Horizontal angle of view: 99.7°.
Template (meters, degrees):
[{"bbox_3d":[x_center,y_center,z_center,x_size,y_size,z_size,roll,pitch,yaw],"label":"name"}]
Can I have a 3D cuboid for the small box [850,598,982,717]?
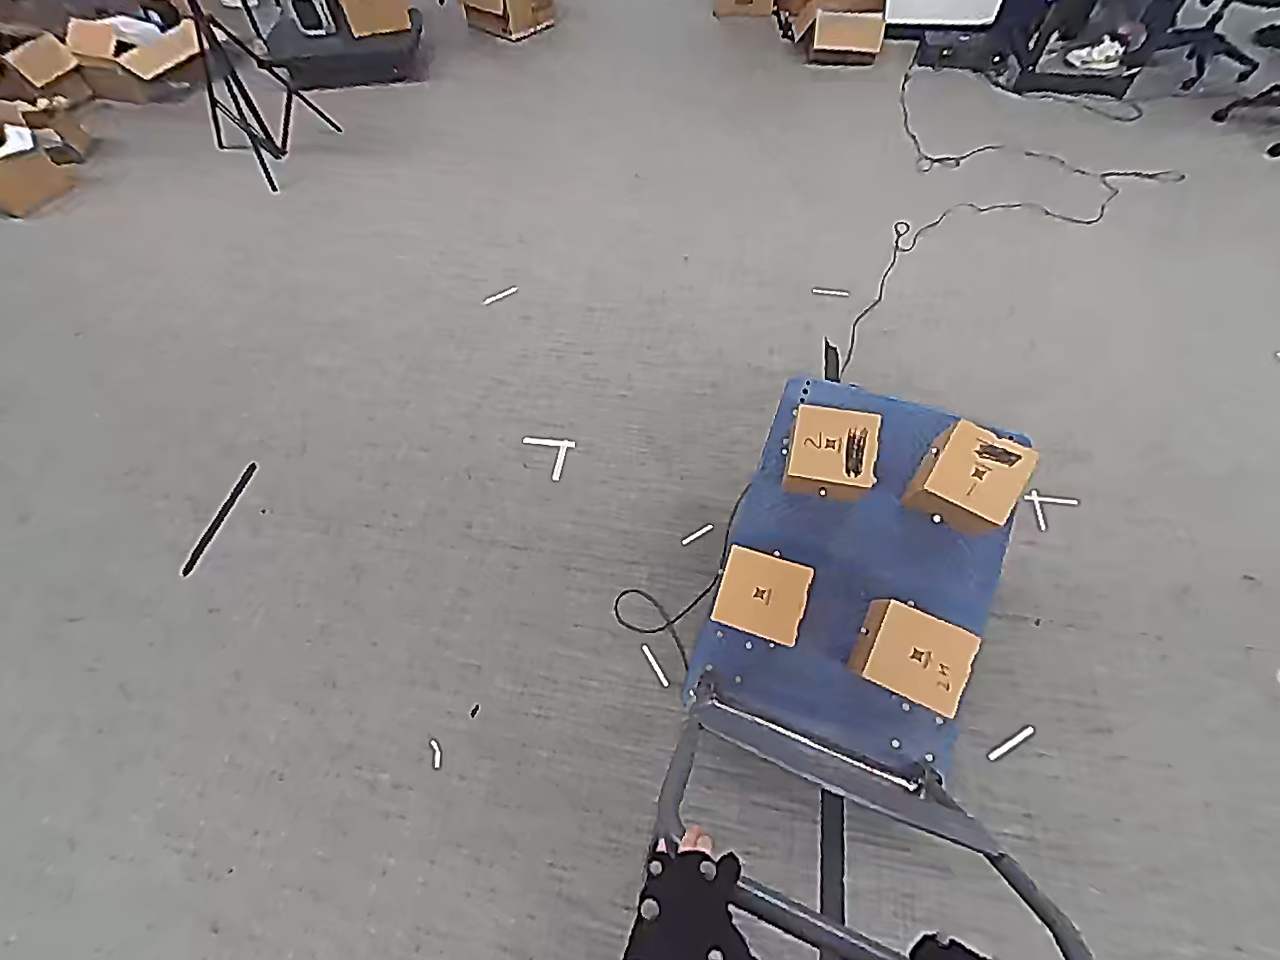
[{"bbox_3d":[0.555,0.358,1.114,0.179,0.176,0.168,24,82,14],"label":"small box"}]

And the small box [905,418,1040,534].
[{"bbox_3d":[0.708,-0.001,1.175,0.168,0.176,0.179,30,84,15],"label":"small box"}]

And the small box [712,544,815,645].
[{"bbox_3d":[0.265,0.253,1.190,0.179,0.176,0.168,16,80,12],"label":"small box"}]
